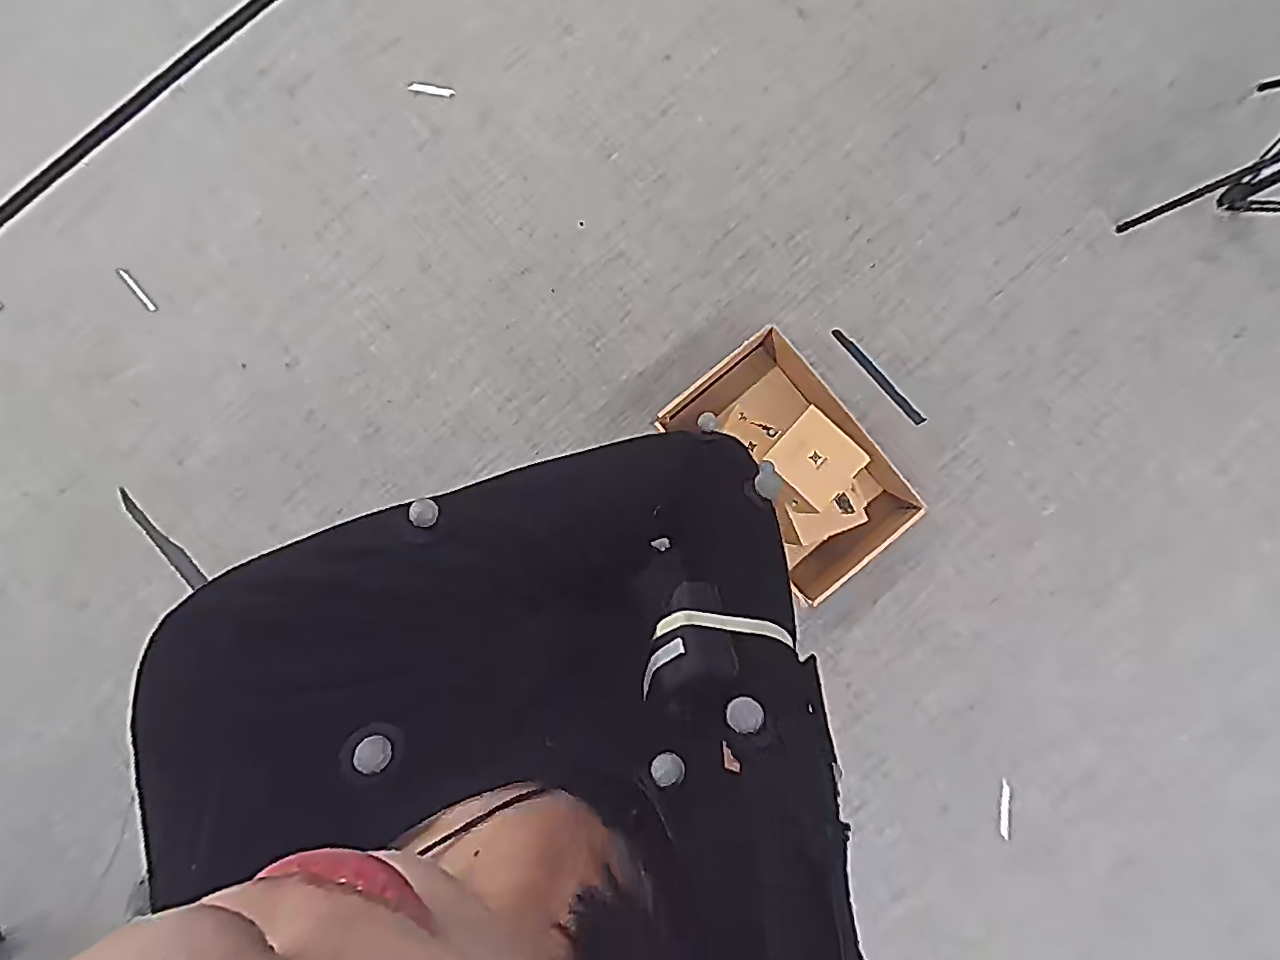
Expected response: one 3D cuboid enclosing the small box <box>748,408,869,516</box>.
[{"bbox_3d":[0.374,-0.036,1.234,0.179,0.176,0.168,42,86,2],"label":"small box"}]
